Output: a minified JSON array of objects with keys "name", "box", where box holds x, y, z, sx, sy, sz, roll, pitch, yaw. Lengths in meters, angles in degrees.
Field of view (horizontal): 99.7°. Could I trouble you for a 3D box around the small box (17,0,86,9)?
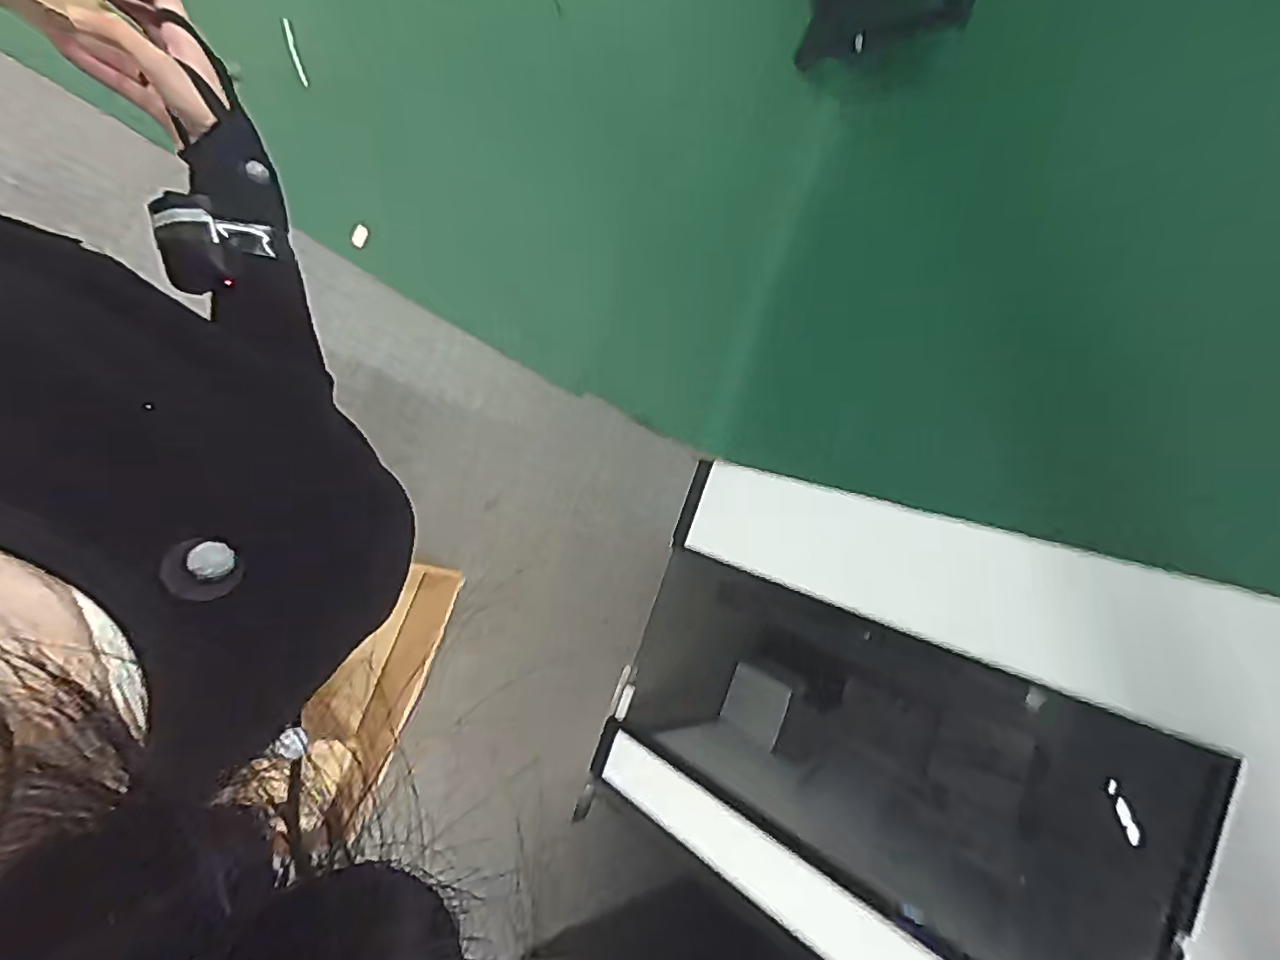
[{"name":"small box","box":[-0.432,-0.419,0.305,0.168,0.176,0.179,3,114,-55]}]
